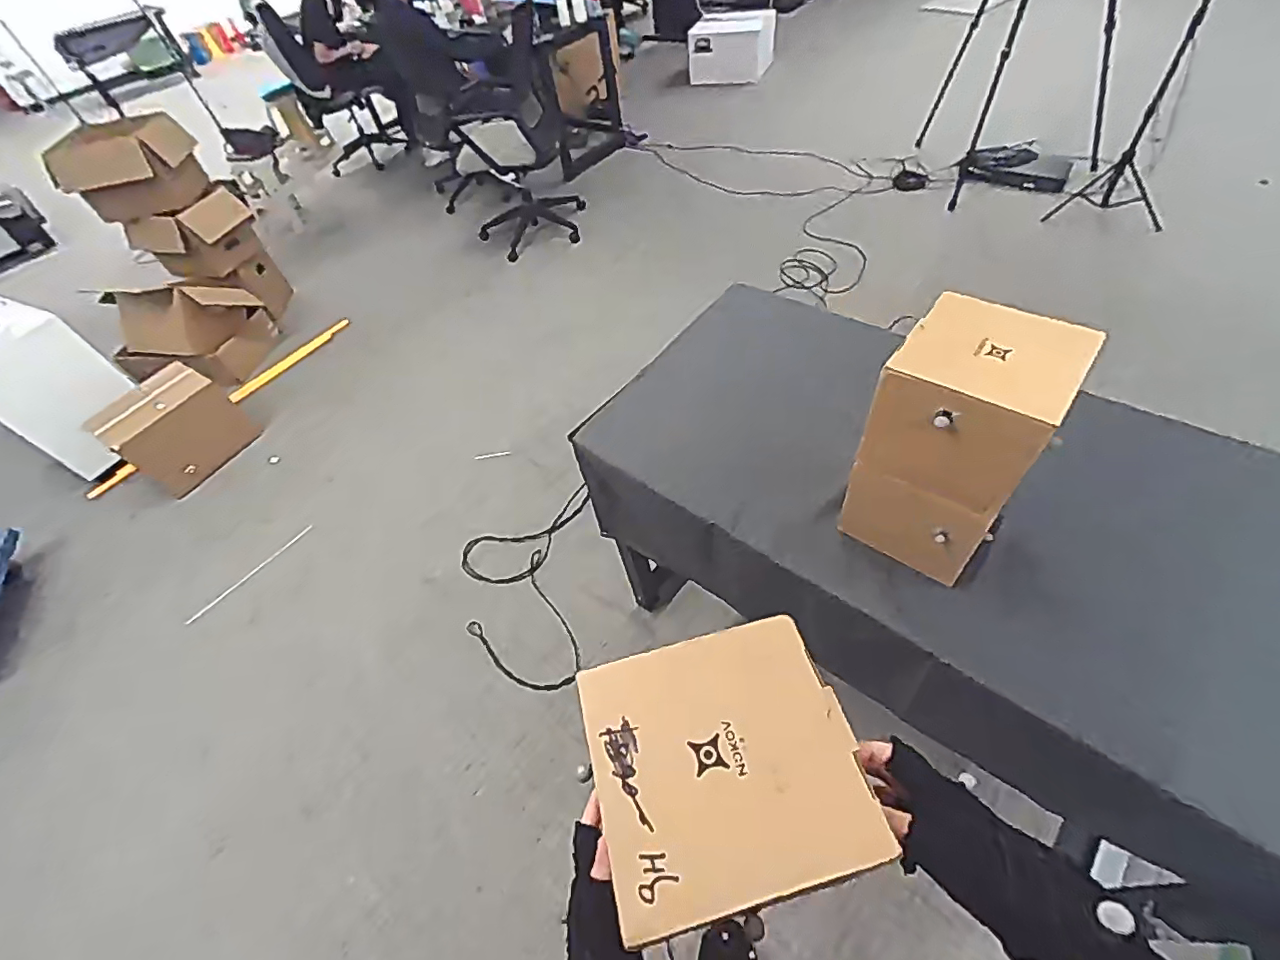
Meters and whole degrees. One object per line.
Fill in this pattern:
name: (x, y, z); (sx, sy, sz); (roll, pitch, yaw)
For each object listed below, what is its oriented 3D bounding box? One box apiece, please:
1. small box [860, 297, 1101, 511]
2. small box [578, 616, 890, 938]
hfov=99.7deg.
small box: (0.398, -0.087, 0.660); (0.179, 0.176, 0.168); (30, 62, 29)
small box: (0.057, 0.237, 0.431); (0.179, 0.176, 0.168); (-13, 48, -7)
